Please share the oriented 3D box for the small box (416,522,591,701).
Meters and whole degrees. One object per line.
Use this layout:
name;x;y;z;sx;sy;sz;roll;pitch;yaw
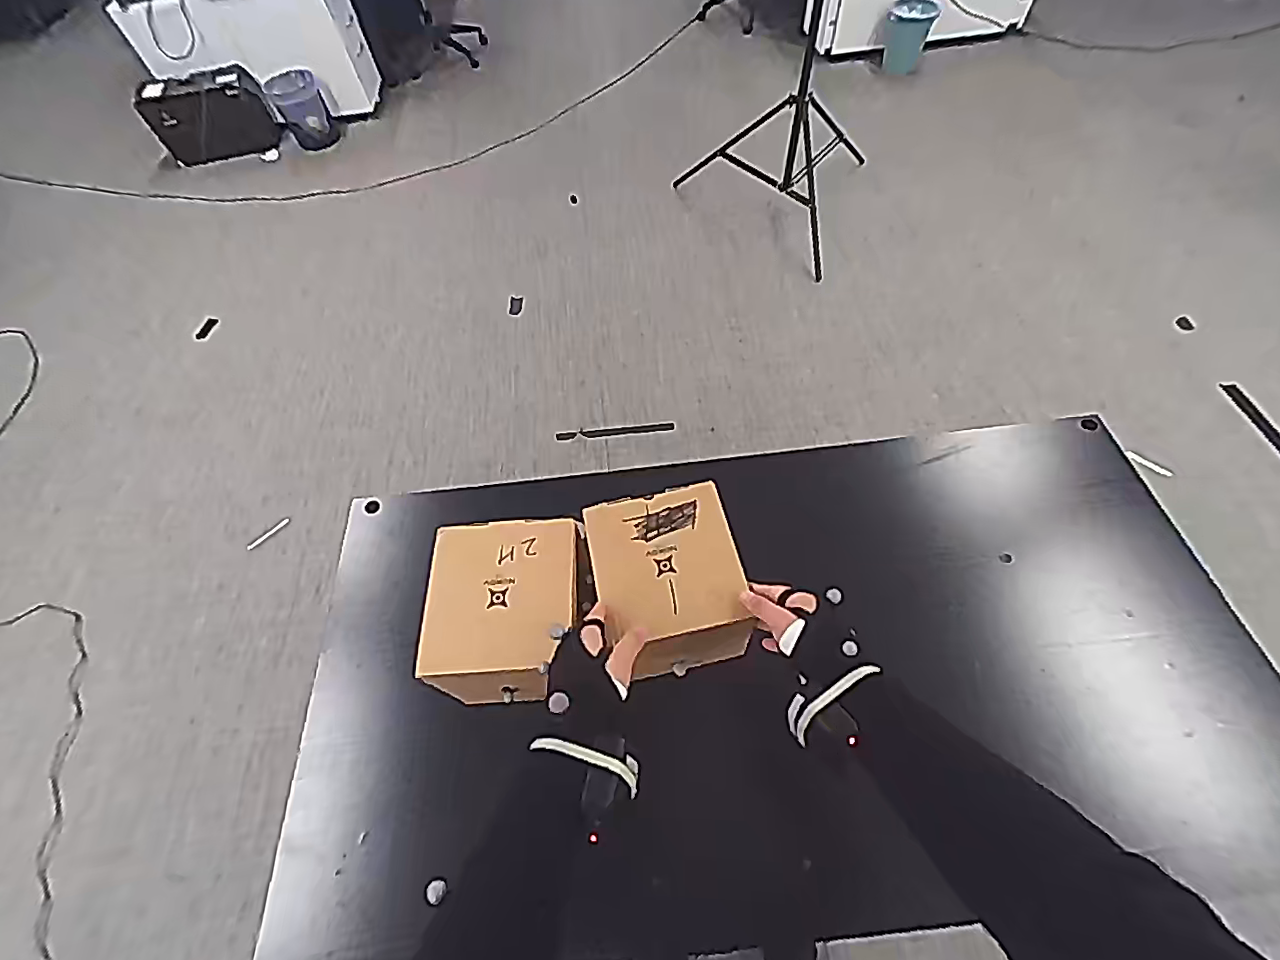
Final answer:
small box;-0.153;0.171;0.674;0.168;0.176;0.179;-4;57;1
